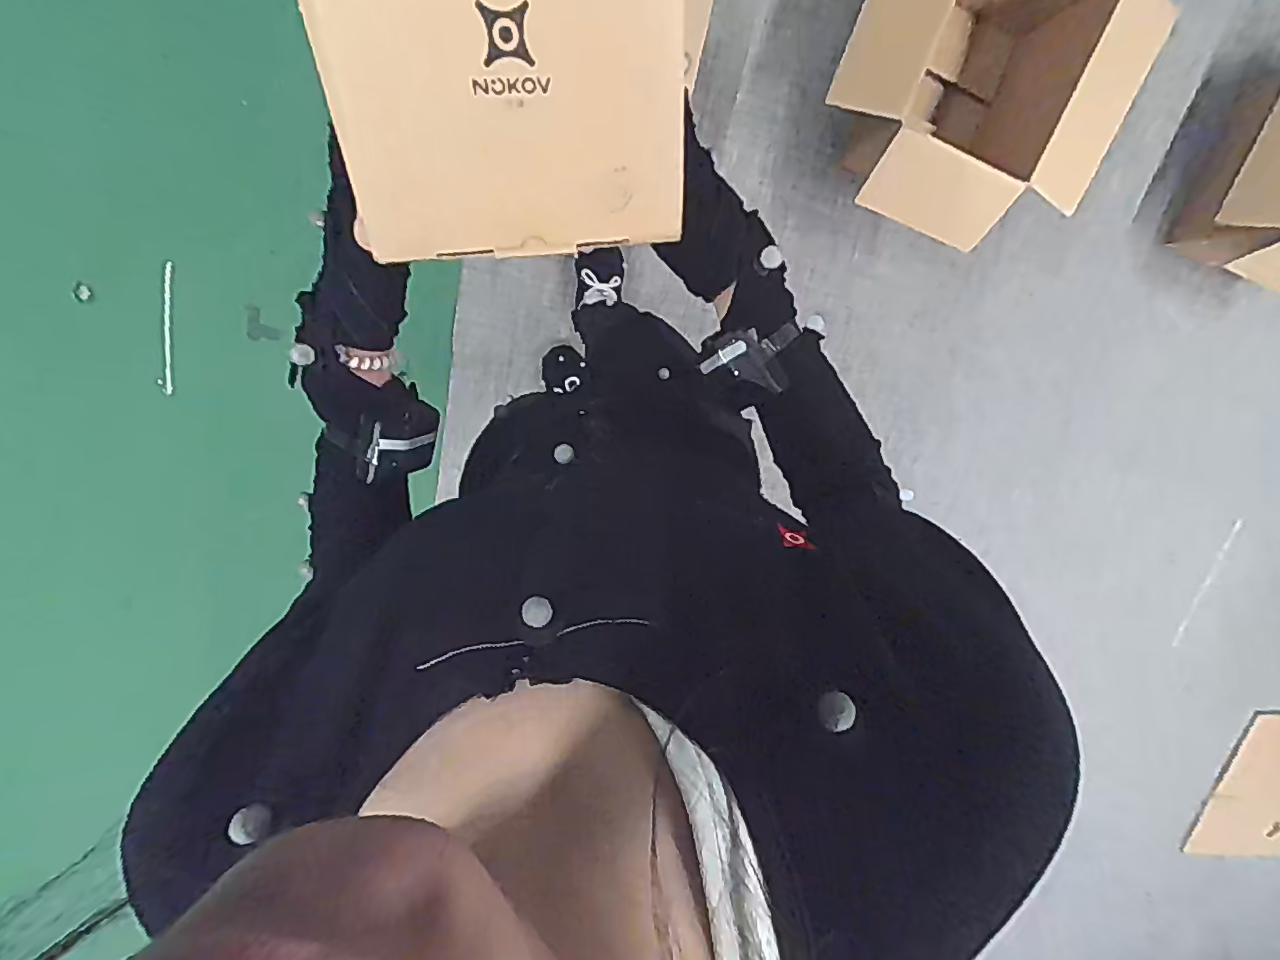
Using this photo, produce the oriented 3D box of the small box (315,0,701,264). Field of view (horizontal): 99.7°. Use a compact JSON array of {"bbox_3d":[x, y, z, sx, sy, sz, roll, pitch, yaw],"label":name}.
[{"bbox_3d":[-0.069,-0.237,0.305,0.168,0.176,0.179,-9,125,-10],"label":"small box"}]
